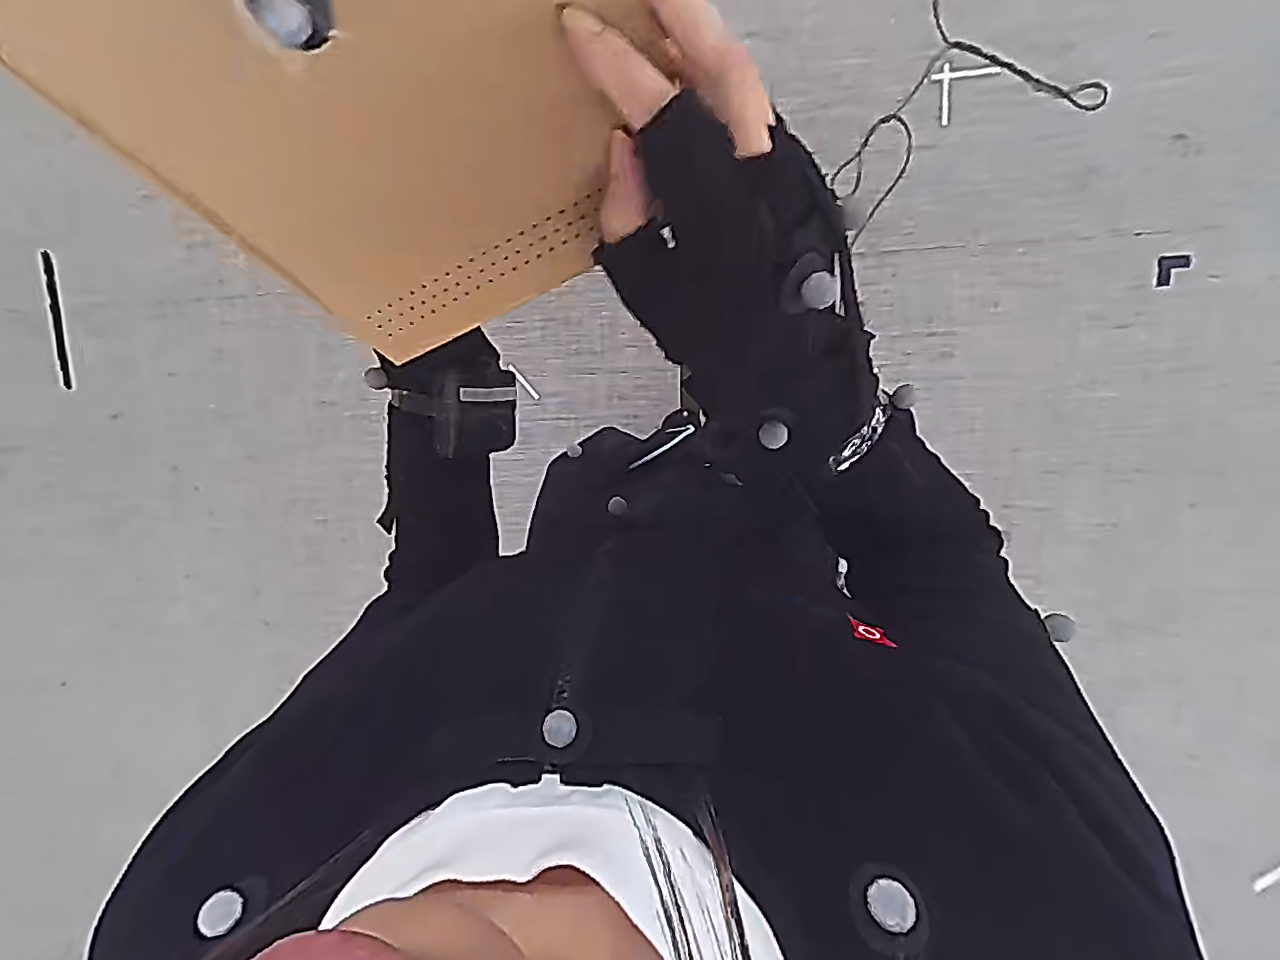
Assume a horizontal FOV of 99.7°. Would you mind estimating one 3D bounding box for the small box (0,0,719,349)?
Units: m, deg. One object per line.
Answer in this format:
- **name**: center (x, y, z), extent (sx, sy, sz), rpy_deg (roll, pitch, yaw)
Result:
- **small box**: center (-0.086, -0.187, 0.228), extent (0.179, 0.176, 0.168), rpy_deg (-21, 61, 15)
